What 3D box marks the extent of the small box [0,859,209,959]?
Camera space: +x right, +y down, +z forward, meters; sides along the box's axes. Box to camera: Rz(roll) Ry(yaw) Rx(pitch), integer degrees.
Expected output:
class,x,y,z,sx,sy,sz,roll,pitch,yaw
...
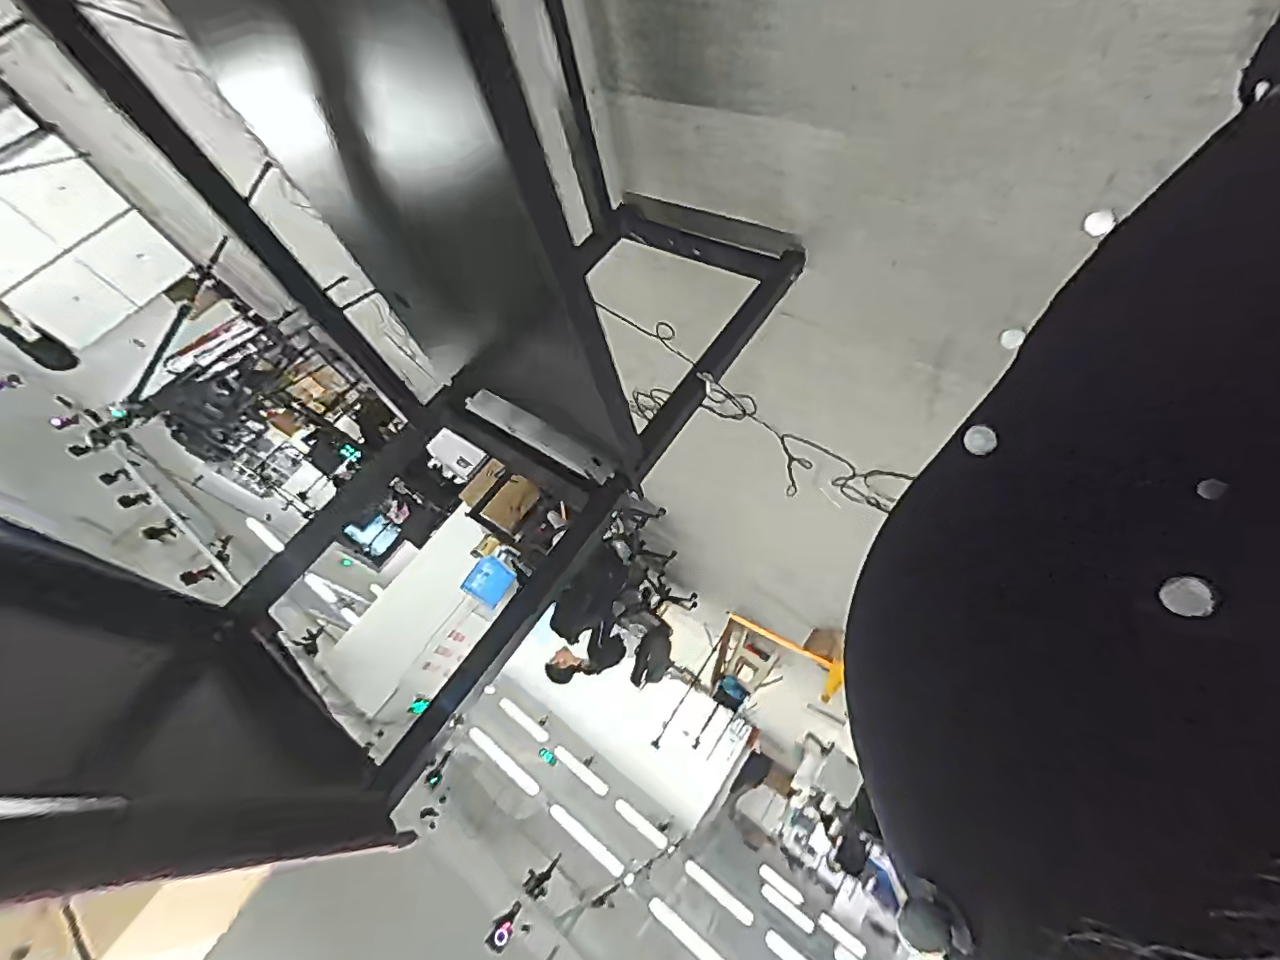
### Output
class,x,y,z,sx,sy,sz,roll,pitch,yaw
small box,-0.709,0.609,0.687,0.168,0.176,0.179,27,160,29
